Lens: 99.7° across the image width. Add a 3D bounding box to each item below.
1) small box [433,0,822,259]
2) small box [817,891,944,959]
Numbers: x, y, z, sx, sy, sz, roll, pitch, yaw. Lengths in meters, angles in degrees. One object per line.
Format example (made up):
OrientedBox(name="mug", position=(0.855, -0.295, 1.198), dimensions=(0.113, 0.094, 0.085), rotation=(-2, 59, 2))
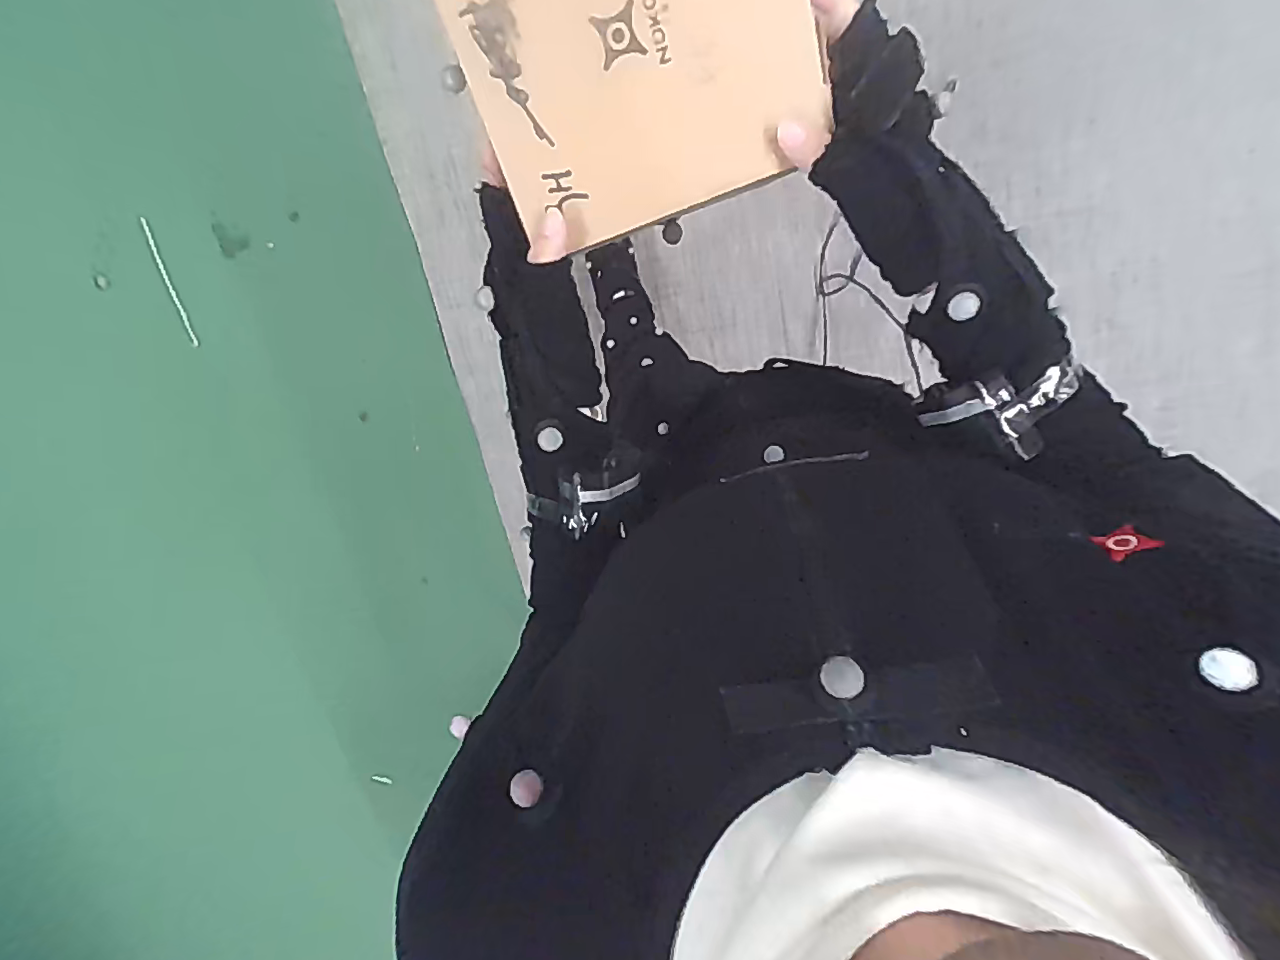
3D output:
OrientedBox(name="small box", position=(-0.010, -0.254, 0.344), dimensions=(0.179, 0.176, 0.168), rotation=(-18, 112, 5))
OrientedBox(name="small box", position=(0.384, 0.782, 0.837), dimensions=(0.179, 0.176, 0.168), rotation=(-16, 107, 11))
